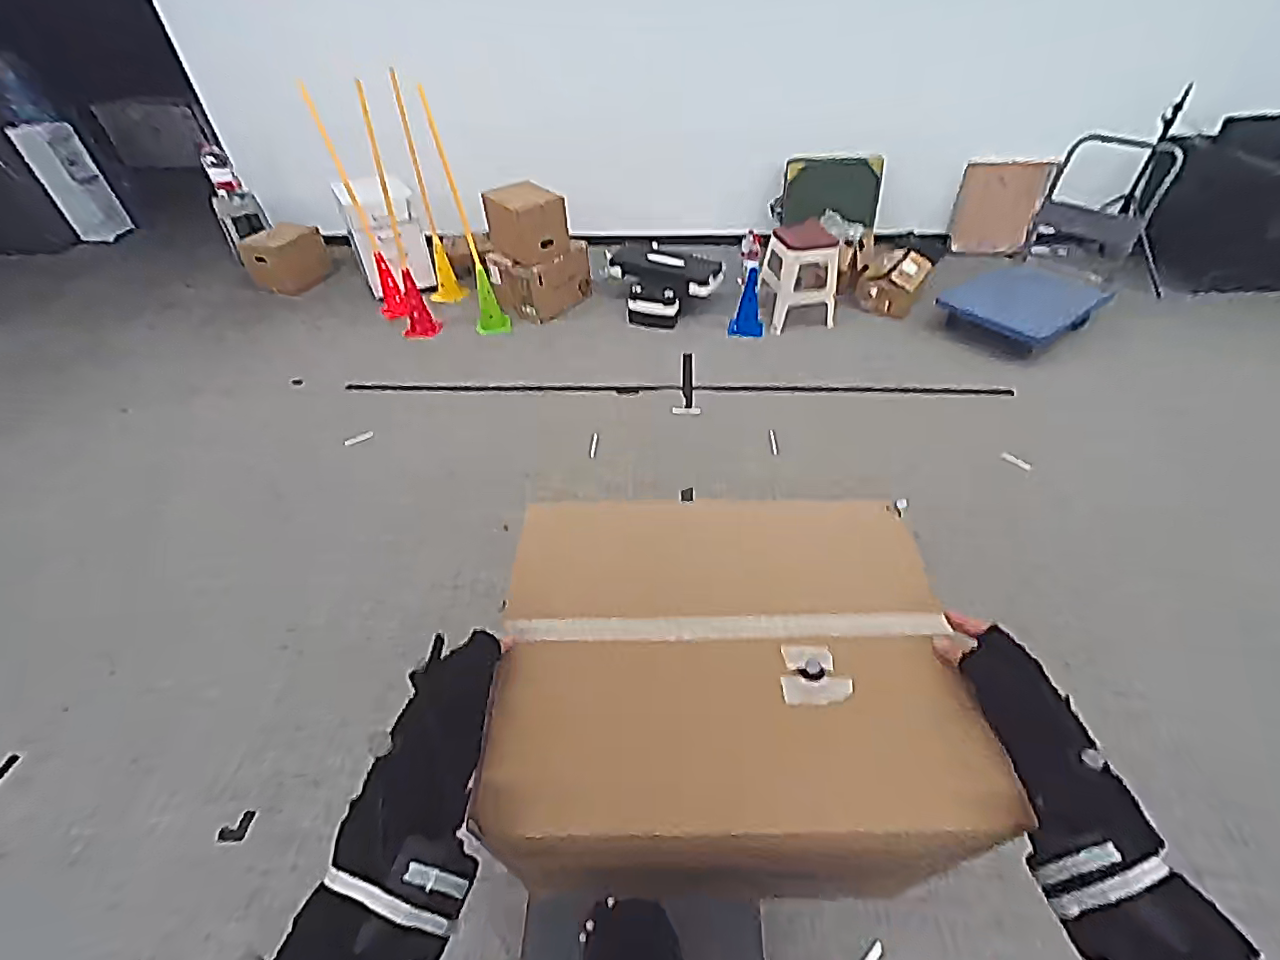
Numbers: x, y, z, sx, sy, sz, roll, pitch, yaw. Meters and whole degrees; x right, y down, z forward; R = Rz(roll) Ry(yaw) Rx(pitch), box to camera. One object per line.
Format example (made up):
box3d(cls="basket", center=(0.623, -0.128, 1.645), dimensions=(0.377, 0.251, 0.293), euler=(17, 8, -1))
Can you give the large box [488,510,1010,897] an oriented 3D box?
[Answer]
box3d(cls="large box", center=(0.079, 0.250, 0.612), dimensions=(0.408, 0.320, 0.320), euler=(0, 45, 0))
